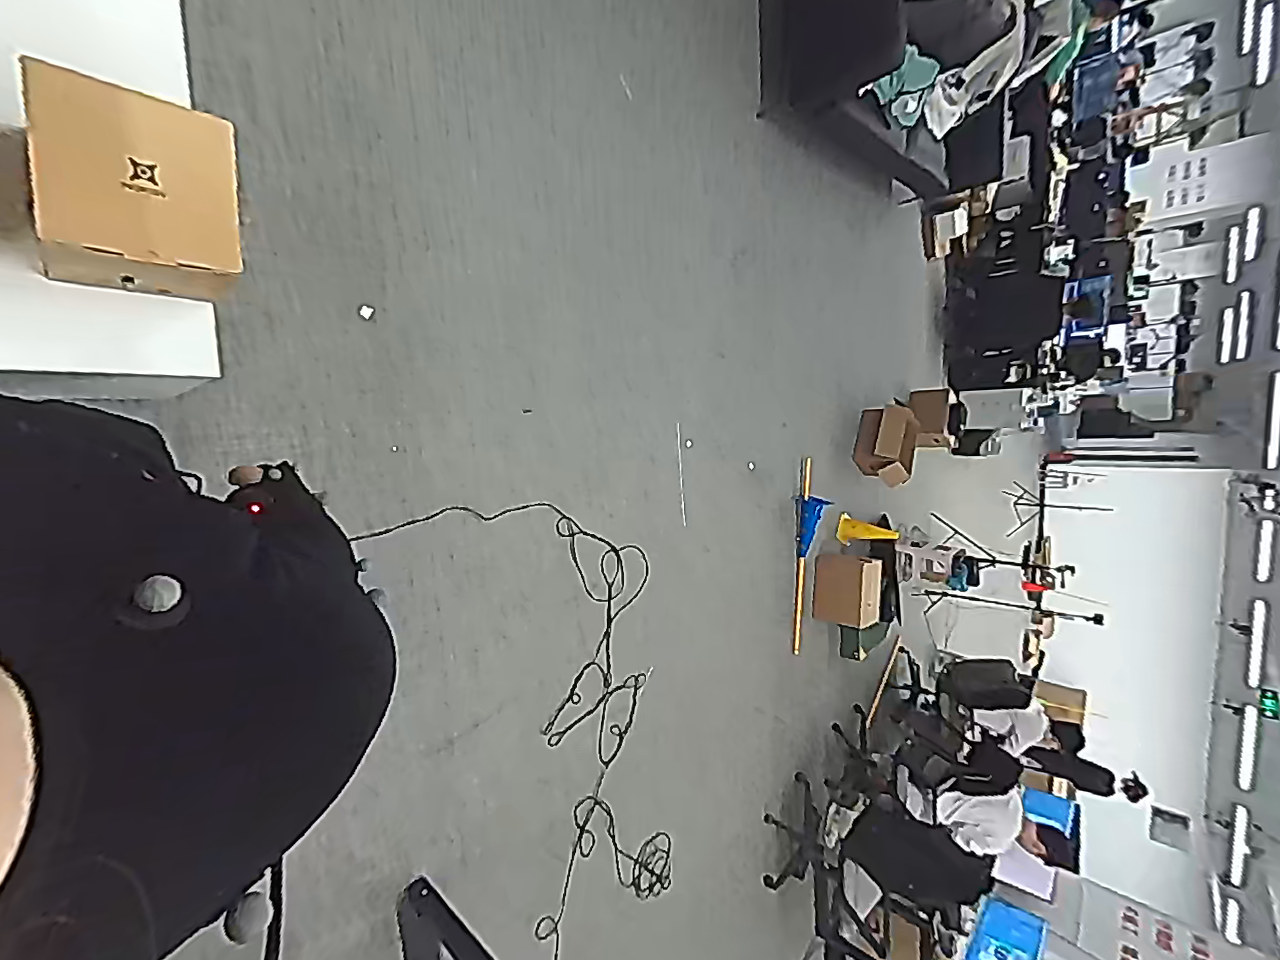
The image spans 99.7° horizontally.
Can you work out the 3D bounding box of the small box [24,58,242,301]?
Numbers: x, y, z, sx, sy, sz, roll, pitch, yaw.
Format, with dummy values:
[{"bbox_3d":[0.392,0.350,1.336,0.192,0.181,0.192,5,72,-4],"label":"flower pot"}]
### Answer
[{"bbox_3d":[-0.587,-0.324,0.631,0.168,0.176,0.179,-6,97,-45],"label":"small box"}]
